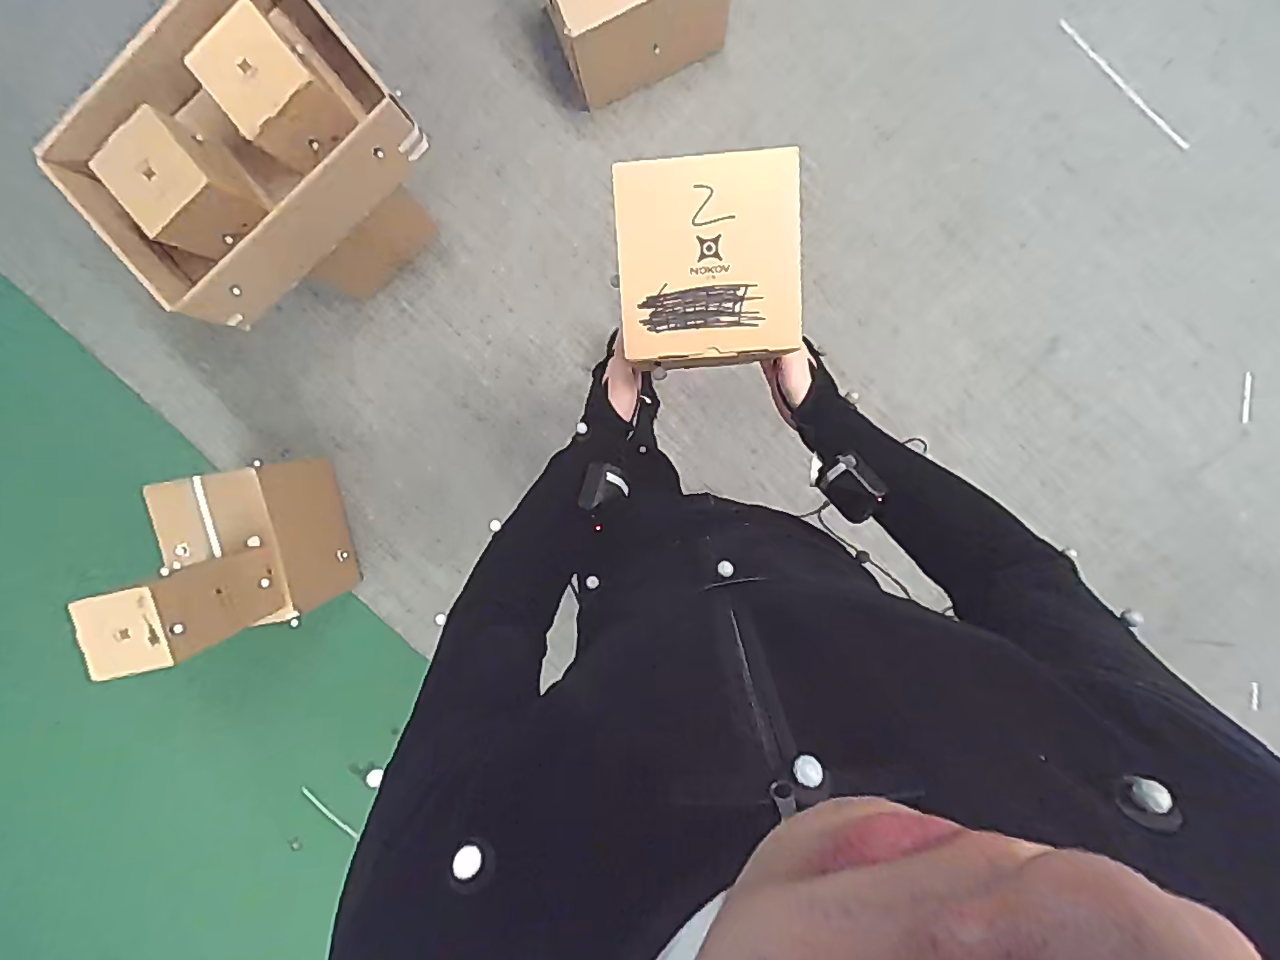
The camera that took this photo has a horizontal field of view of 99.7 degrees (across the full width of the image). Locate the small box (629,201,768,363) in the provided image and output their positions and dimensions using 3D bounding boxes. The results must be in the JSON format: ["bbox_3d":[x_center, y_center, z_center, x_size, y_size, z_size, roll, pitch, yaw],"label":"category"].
[{"bbox_3d":[0.076,-0.251,0.726,0.168,0.176,0.179,-3,99,3],"label":"small box"}]

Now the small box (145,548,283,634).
[{"bbox_3d":[-1.005,0.271,1.289,0.179,0.176,0.168,-12,97,3],"label":"small box"}]

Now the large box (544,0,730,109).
[{"bbox_3d":[-0.023,-1.210,1.308,0.408,0.320,0.320,-23,95,6],"label":"large box"}]

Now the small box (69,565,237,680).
[{"bbox_3d":[-1.001,0.289,1.126,0.179,0.176,0.168,-12,96,4],"label":"small box"}]

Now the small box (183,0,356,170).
[{"bbox_3d":[-0.700,-0.749,1.042,0.168,0.176,0.179,-39,96,6],"label":"small box"}]
